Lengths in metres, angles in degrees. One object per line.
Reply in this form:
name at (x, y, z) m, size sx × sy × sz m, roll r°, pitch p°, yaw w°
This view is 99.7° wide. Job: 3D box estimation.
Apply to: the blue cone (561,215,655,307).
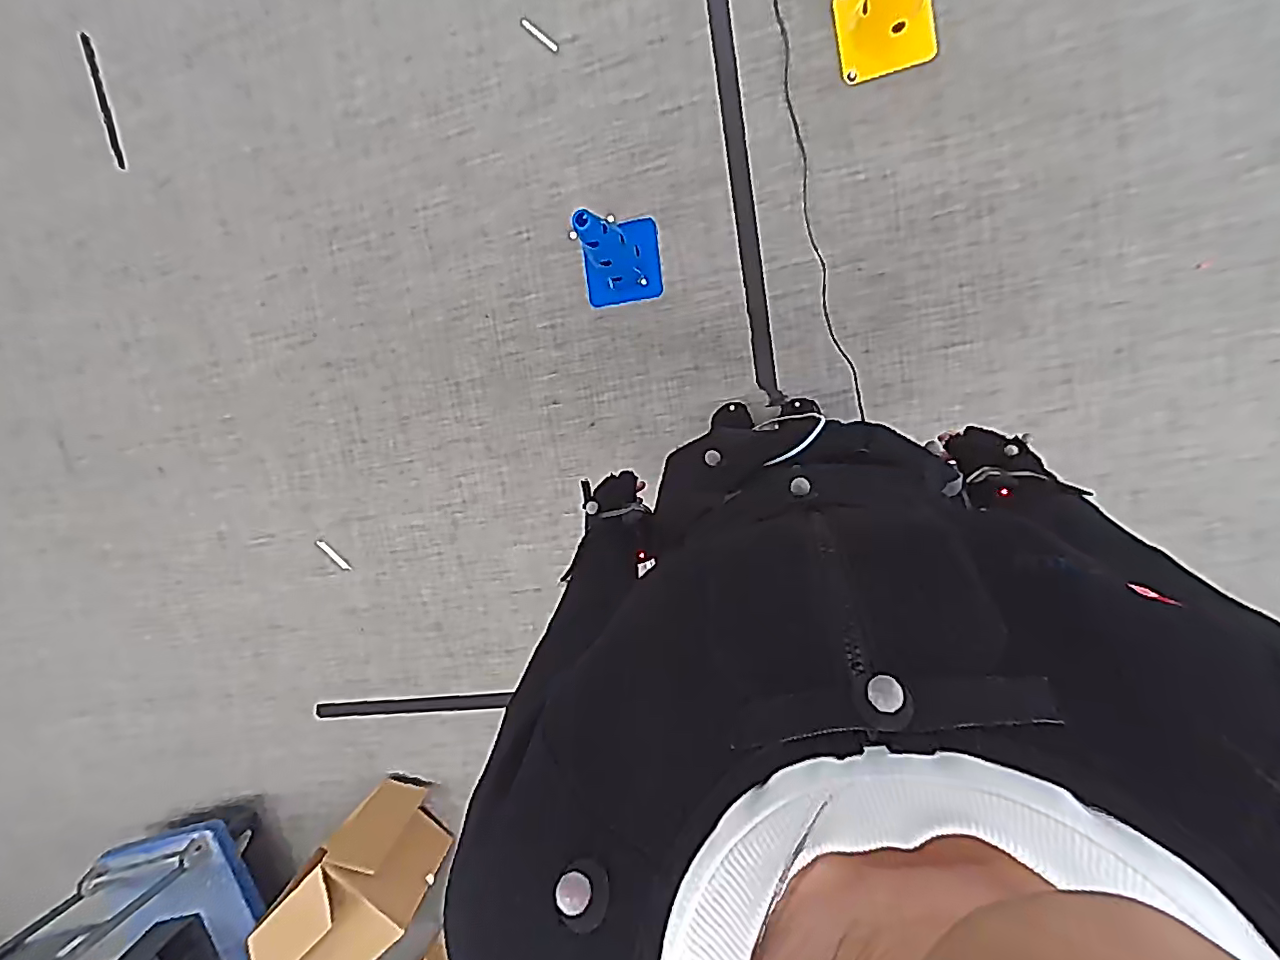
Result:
blue cone at (-0.093, -0.537, 1.251) m, size 0.192 × 0.380 × 0.193 m, roll -4°, pitch 97°, yaw 13°
